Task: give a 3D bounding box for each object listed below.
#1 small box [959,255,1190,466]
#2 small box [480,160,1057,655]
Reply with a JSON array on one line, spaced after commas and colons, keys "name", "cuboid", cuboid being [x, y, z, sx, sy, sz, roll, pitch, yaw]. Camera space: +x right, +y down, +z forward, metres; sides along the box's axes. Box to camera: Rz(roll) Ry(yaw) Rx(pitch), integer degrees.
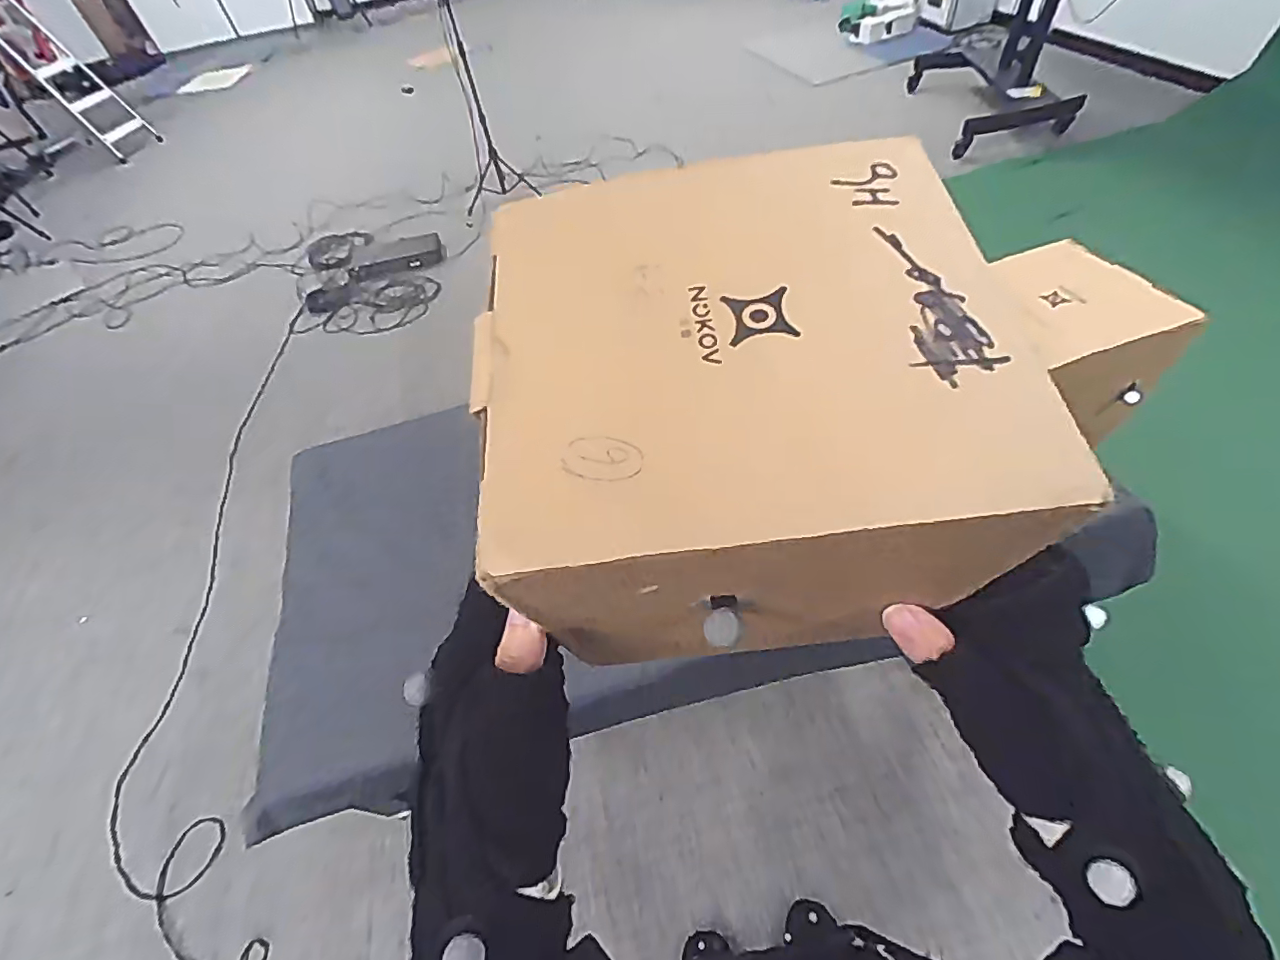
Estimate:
[{"name": "small box", "cuboid": [0.427, -0.119, 0.613, 0.179, 0.176, 0.168, -19, 50, -5]}, {"name": "small box", "cuboid": [0.041, -0.016, 0.269, 0.179, 0.176, 0.168, -8, 62, 4]}]
